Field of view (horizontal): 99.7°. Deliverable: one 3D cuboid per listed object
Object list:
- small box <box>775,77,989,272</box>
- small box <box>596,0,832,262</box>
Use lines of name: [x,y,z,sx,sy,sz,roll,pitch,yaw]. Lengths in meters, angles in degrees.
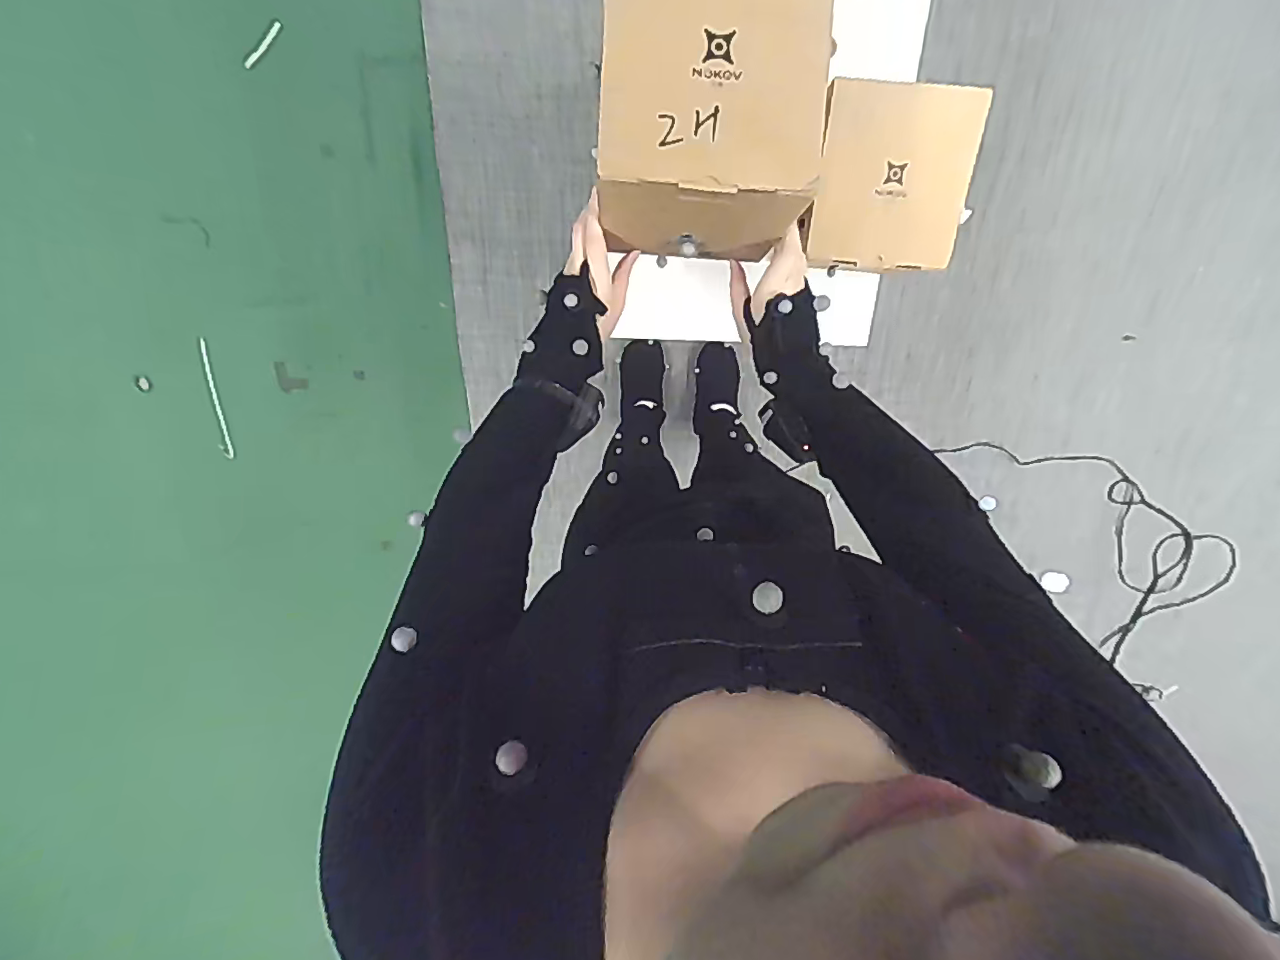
small box: [0.271,-0.350,0.653,0.168,0.176,0.179,4,112,-1]
small box: [0.050,-0.310,0.470,0.168,0.176,0.179,3,96,-2]
